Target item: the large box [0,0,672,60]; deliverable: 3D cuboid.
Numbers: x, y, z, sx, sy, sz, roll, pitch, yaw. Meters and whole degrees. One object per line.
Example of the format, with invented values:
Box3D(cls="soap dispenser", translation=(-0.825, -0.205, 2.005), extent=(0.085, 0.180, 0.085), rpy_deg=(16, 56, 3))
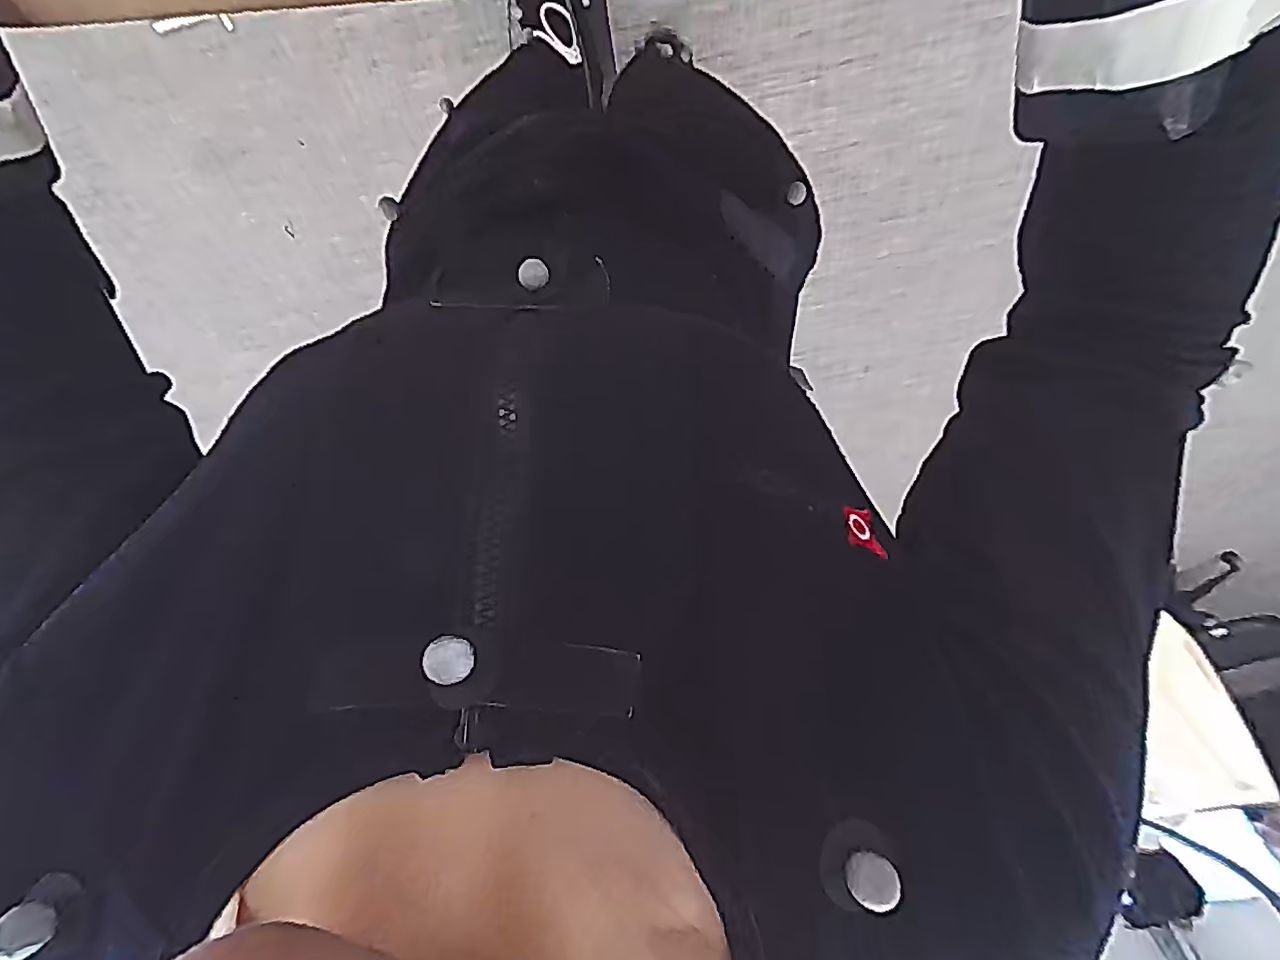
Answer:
Box3D(cls="large box", translation=(-0.065, -0.377, 0.117), extent=(0.408, 0.320, 0.320), rpy_deg=(-4, 163, 1))
